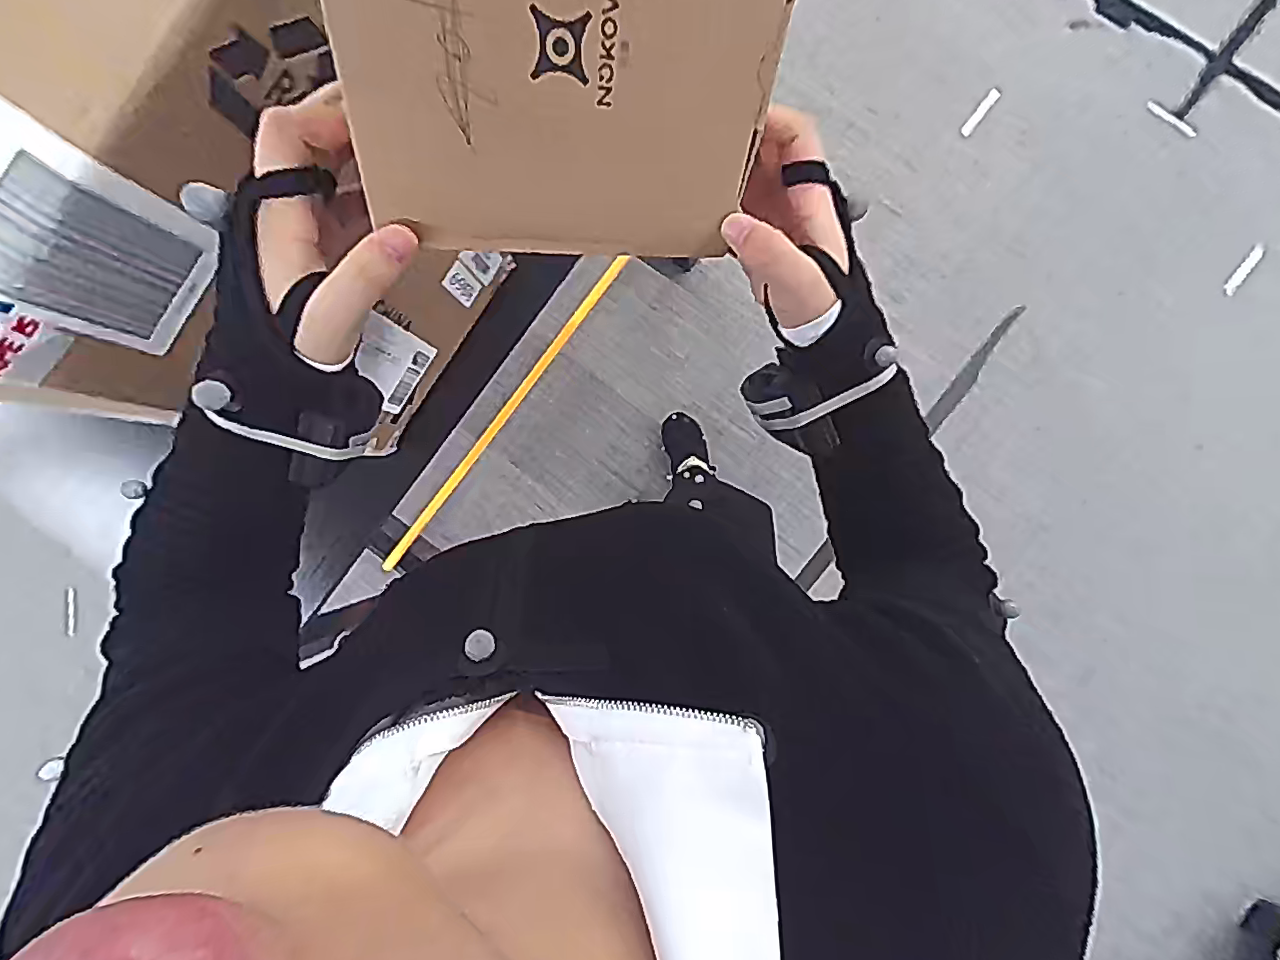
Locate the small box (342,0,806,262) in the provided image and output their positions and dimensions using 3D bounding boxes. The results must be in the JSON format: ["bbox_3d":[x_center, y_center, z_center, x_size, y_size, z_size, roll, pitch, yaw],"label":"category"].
[{"bbox_3d":[-0.036,-0.227,0.266,0.179,0.168,0.176,-2,46,-12],"label":"small box"}]
